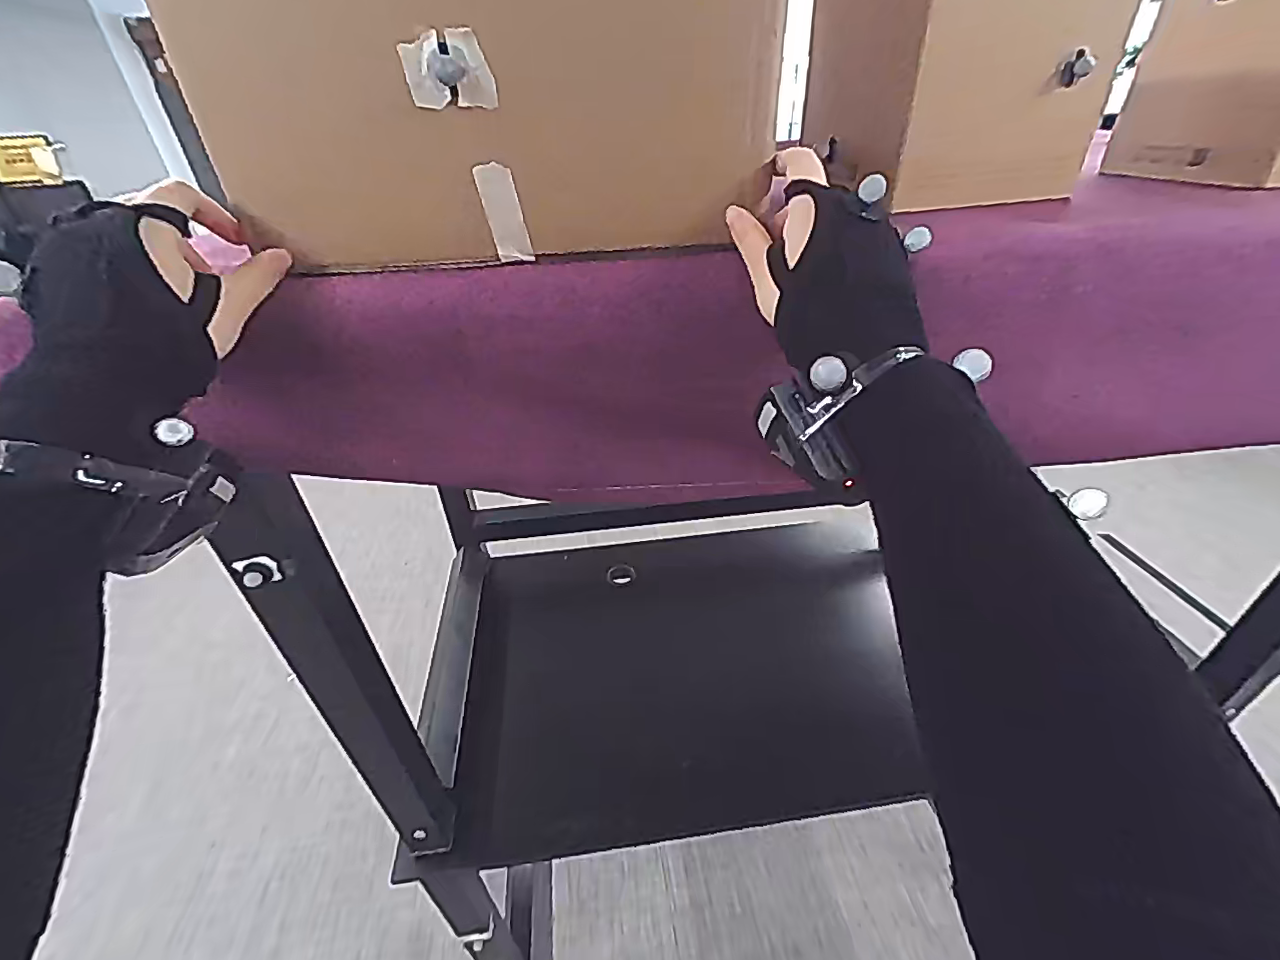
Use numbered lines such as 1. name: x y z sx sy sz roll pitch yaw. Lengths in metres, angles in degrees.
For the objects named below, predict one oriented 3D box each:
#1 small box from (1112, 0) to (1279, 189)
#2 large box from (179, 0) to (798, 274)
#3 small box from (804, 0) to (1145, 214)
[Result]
1. small box: 0.583 -0.361 0.472 0.179 0.176 0.168 -6 34 -5
2. large box: -0.091 -0.365 0.408 0.320 0.320 0.408 -4 33 -3
3. small box: 0.261 -0.335 0.459 0.179 0.176 0.168 -10 34 -9
